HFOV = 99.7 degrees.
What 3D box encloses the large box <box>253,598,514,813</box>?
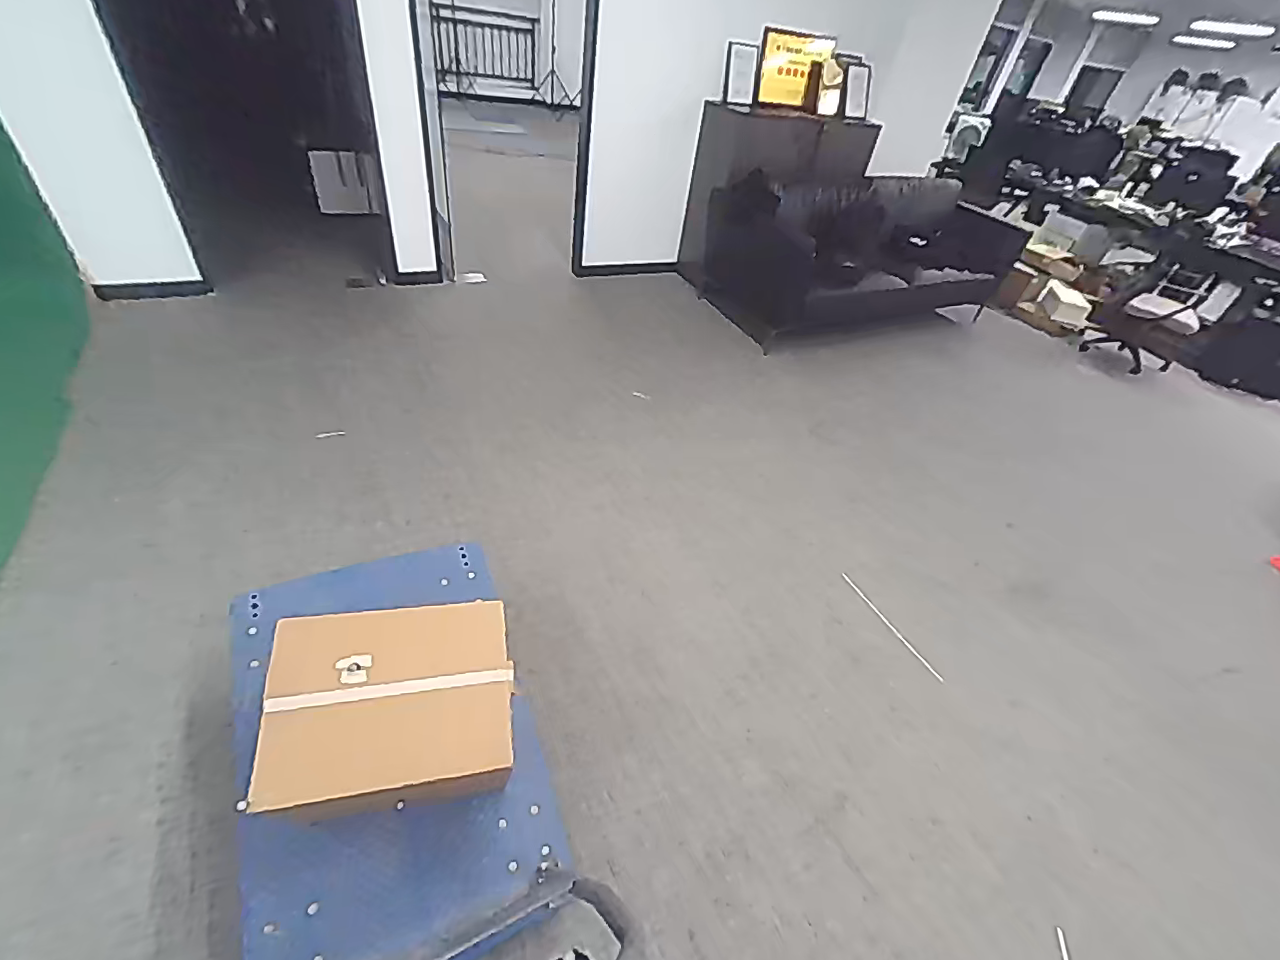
[{"bbox_3d":[-0.475,0.456,1.095,0.408,0.320,0.320,-1,57,-17],"label":"large box"}]
